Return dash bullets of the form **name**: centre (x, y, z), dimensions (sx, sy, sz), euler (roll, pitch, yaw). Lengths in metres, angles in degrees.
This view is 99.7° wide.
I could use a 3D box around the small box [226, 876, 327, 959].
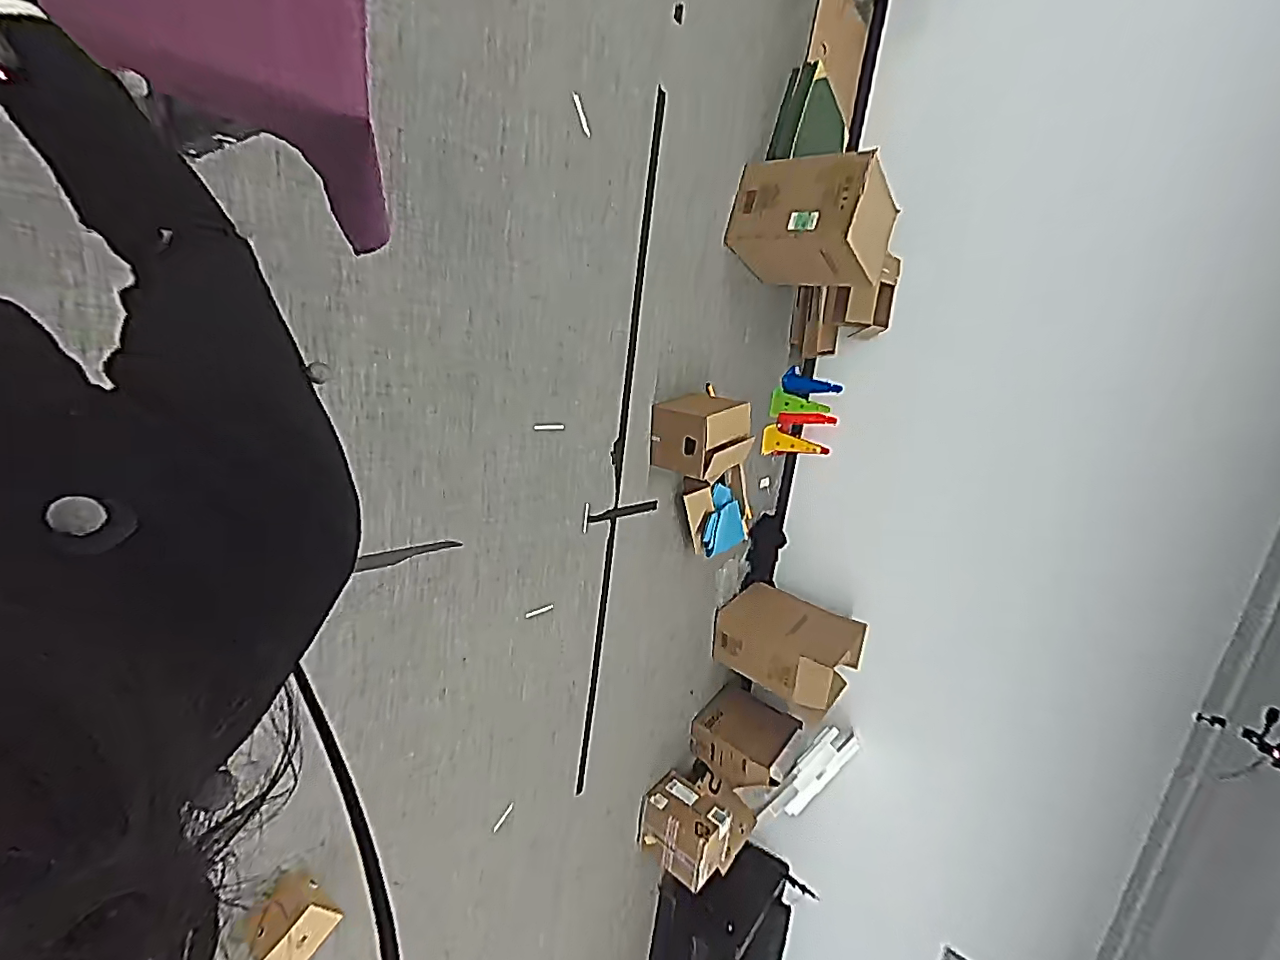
- **small box**: centre (-1.100, 1.352, 1.628), dimensions (0.179, 0.176, 0.168), euler (-49, 140, -31)
